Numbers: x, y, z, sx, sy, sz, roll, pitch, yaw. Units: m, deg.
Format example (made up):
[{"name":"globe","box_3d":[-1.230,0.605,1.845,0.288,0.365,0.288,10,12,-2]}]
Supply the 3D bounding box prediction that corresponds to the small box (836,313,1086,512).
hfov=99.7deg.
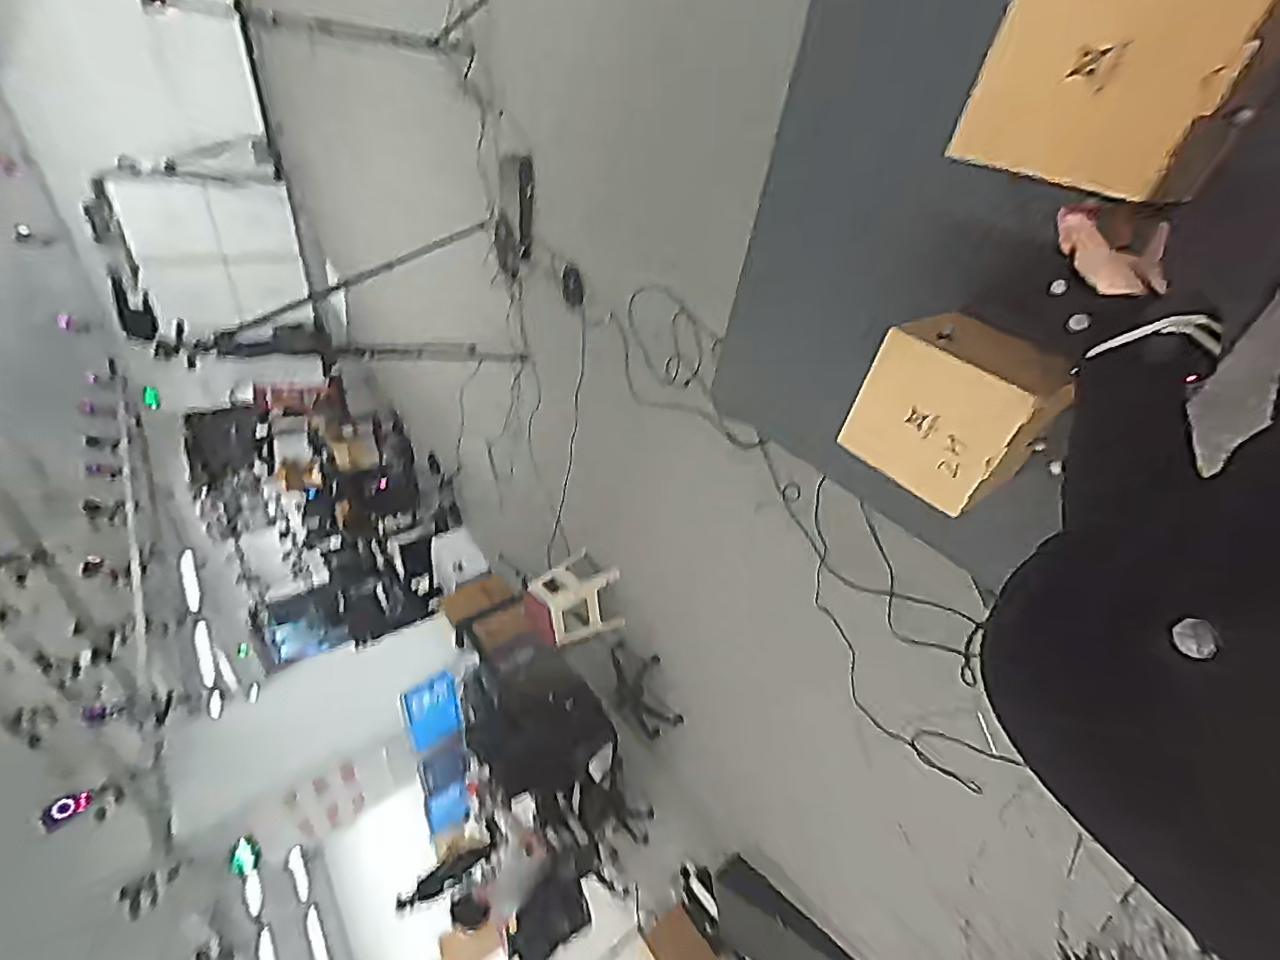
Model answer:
[{"name":"small box","box_3d":[0.385,-0.094,0.662,0.179,0.176,0.168,42,137,33]}]

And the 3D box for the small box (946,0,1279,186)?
[{"name":"small box","box_3d":[0.423,-0.367,0.477,0.179,0.176,0.168,40,136,33]}]
